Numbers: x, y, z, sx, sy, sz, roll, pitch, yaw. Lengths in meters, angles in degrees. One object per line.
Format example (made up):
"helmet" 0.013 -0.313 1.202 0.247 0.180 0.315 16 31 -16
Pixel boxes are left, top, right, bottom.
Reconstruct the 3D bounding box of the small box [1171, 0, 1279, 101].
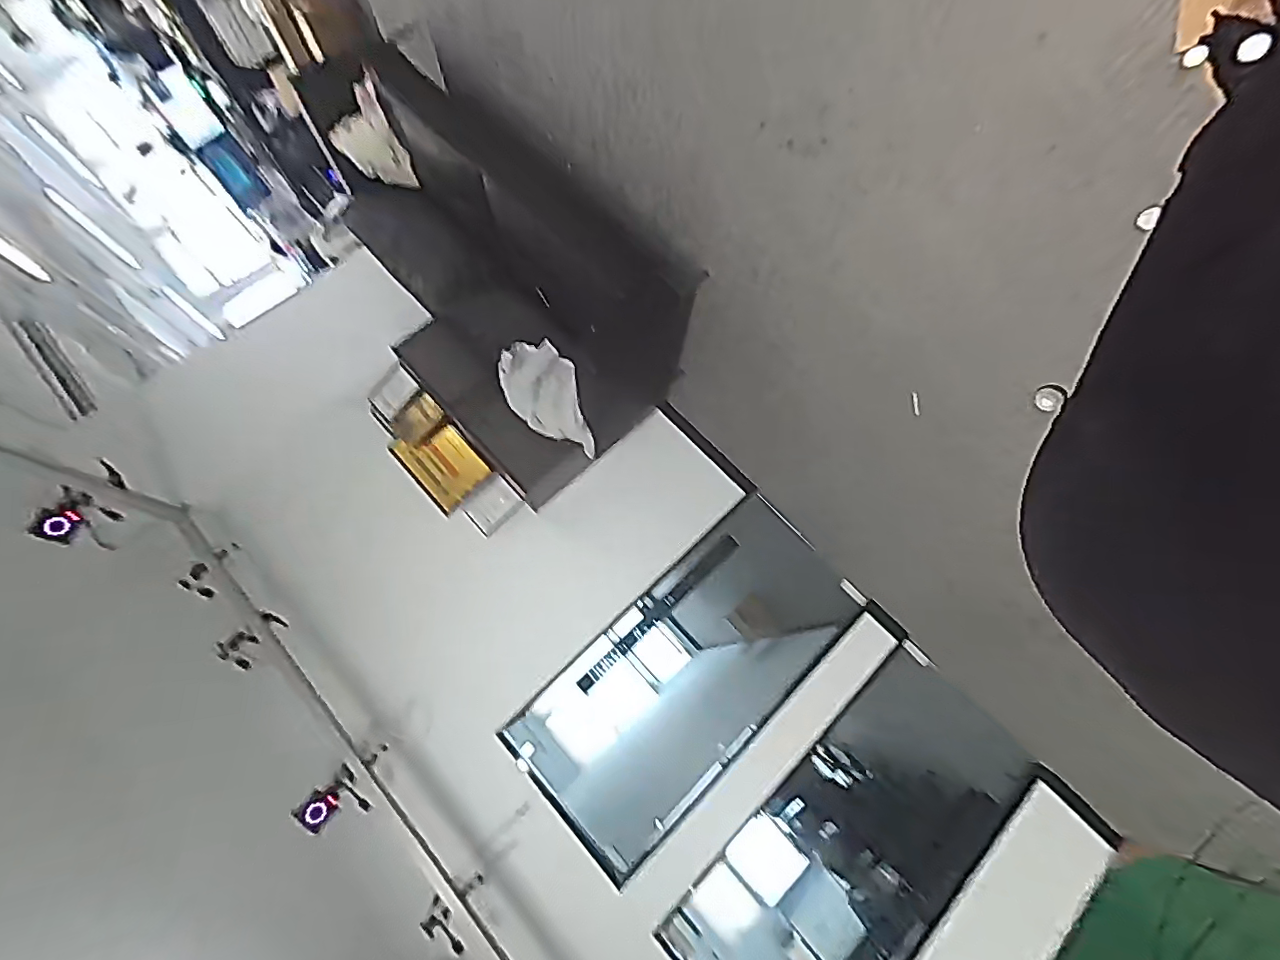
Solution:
"small box" 0.581 -0.461 0.444 0.168 0.179 0.176 16 110 55
